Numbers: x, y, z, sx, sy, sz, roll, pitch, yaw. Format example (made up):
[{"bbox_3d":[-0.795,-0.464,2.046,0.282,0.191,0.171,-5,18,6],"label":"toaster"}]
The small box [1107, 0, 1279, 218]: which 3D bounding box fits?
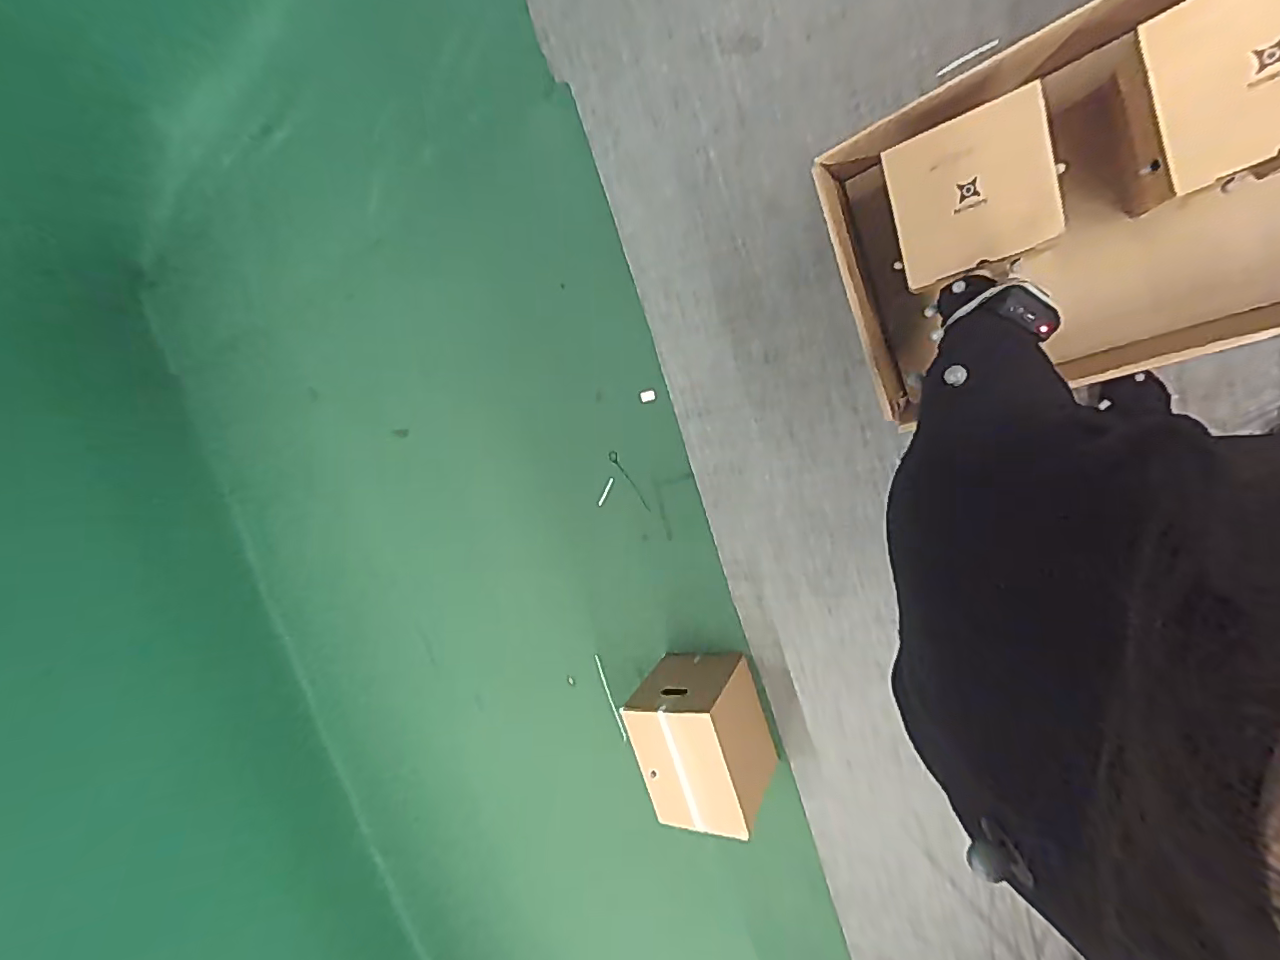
[{"bbox_3d":[0.635,-0.410,0.579,0.168,0.176,0.179,-15,98,35],"label":"small box"}]
